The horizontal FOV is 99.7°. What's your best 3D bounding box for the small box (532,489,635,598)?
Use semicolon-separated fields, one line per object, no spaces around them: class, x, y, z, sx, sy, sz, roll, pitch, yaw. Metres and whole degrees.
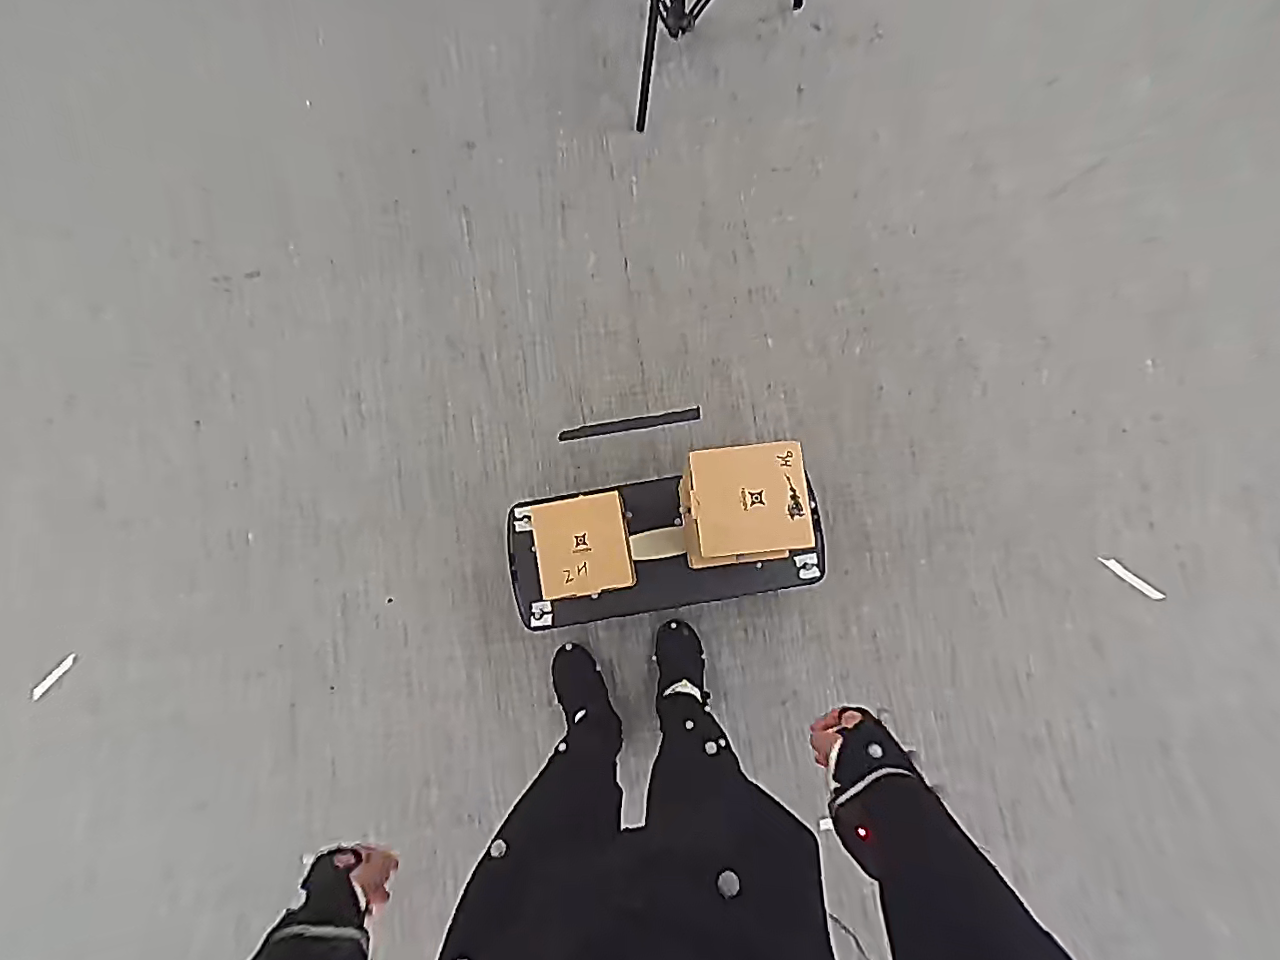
small box;-0.104;0.126;1.053;0.168;0.176;0.179;-10;82;0

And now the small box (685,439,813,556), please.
small box;0.168;0.036;0.897;0.179;0.176;0.168;-6;82;1

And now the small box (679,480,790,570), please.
small box;0.172;0.079;1.055;0.179;0.176;0.168;-9;81;0
